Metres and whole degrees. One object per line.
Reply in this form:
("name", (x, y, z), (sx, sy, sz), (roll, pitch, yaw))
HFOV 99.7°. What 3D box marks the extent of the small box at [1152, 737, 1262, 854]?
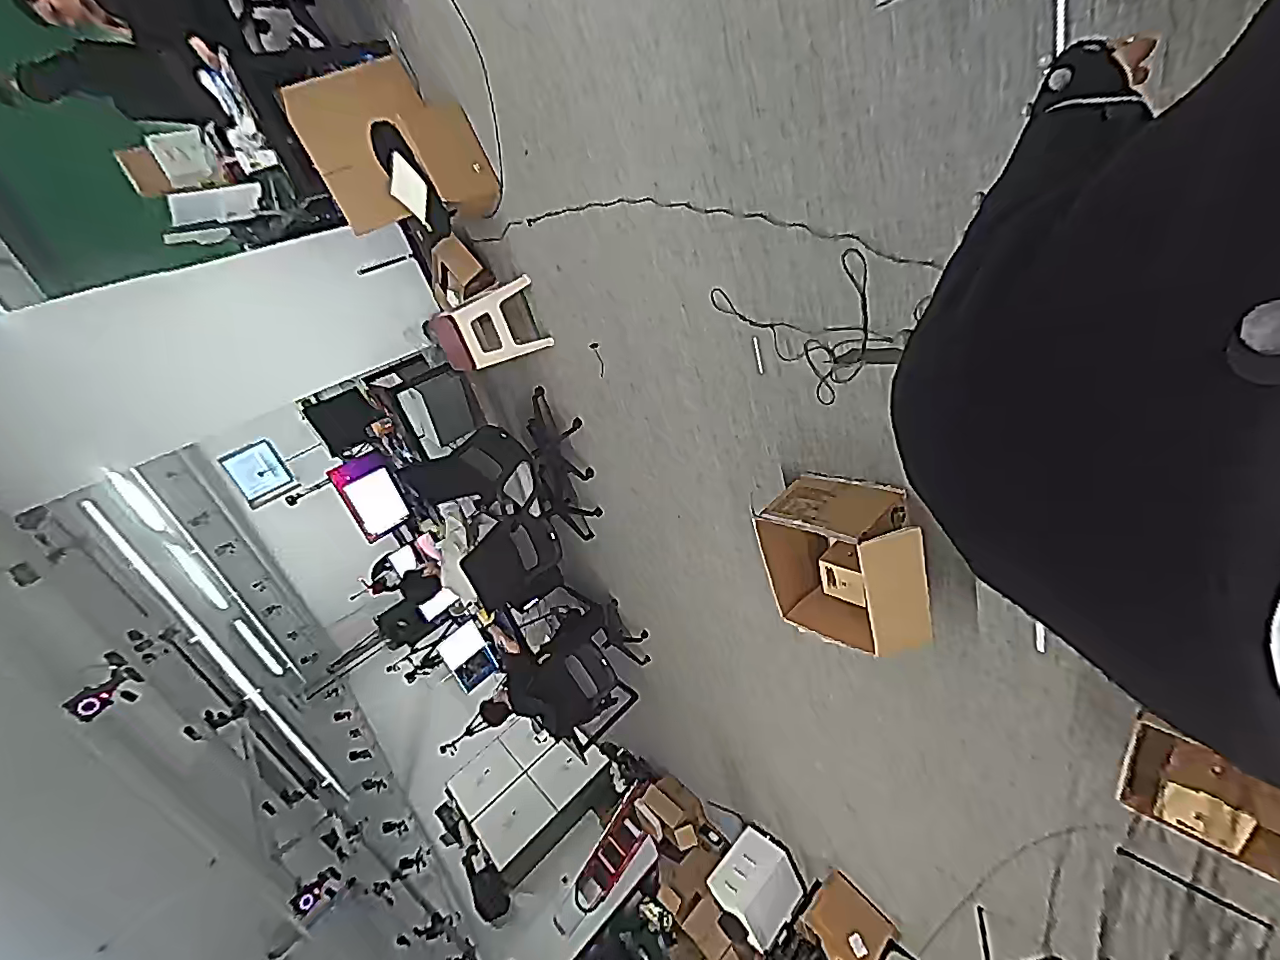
("small box", (1.508, 0.829, 1.439), (0.168, 0.176, 0.179), (19, 133, 45))
